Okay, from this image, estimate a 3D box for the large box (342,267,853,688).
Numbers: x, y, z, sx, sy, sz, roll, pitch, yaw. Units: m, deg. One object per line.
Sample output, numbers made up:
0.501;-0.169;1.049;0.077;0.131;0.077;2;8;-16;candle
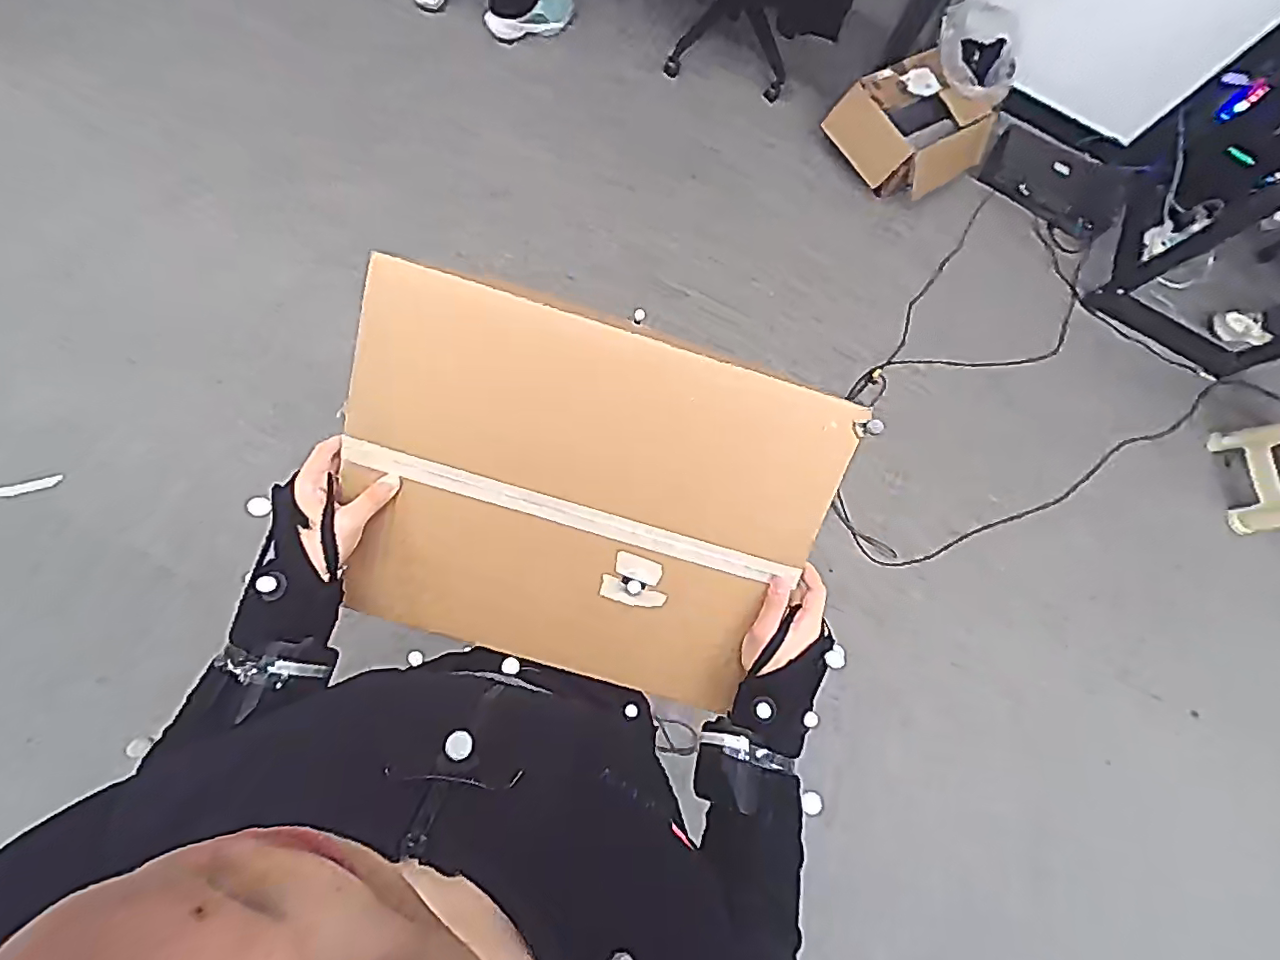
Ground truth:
-0.052;-0.025;0.620;0.408;0.320;0.320;15;109;-4;large box
